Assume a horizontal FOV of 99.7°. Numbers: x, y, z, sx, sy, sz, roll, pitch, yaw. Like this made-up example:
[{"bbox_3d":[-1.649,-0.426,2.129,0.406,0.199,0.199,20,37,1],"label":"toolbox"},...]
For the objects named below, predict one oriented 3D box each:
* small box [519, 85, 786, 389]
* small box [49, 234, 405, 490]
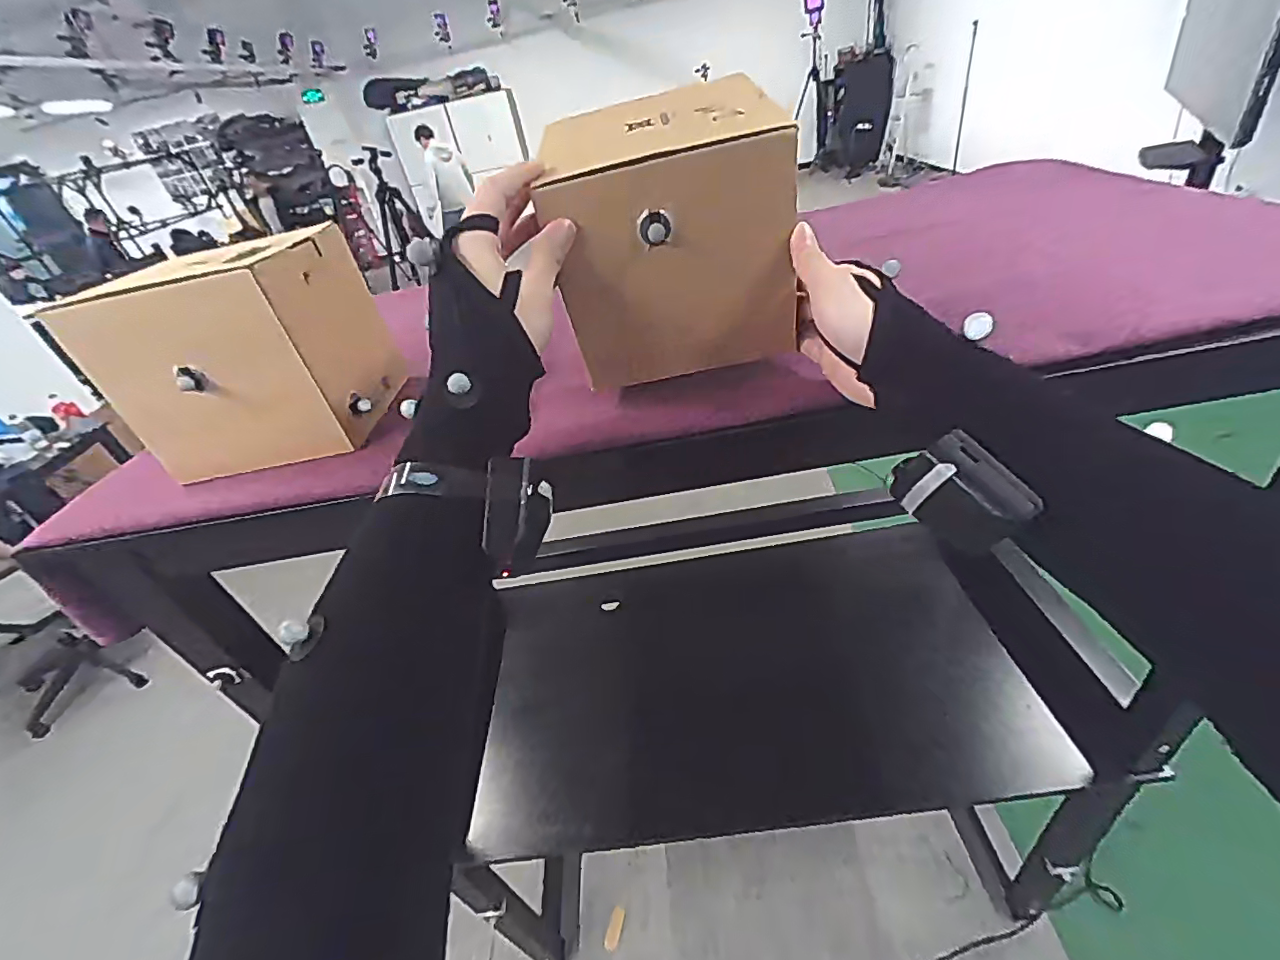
[{"bbox_3d":[0.018,-0.197,0.455,0.179,0.176,0.168,-10,46,6],"label":"small box"},{"bbox_3d":[-0.359,-0.113,0.520,0.179,0.176,0.168,-12,35,5],"label":"small box"}]
